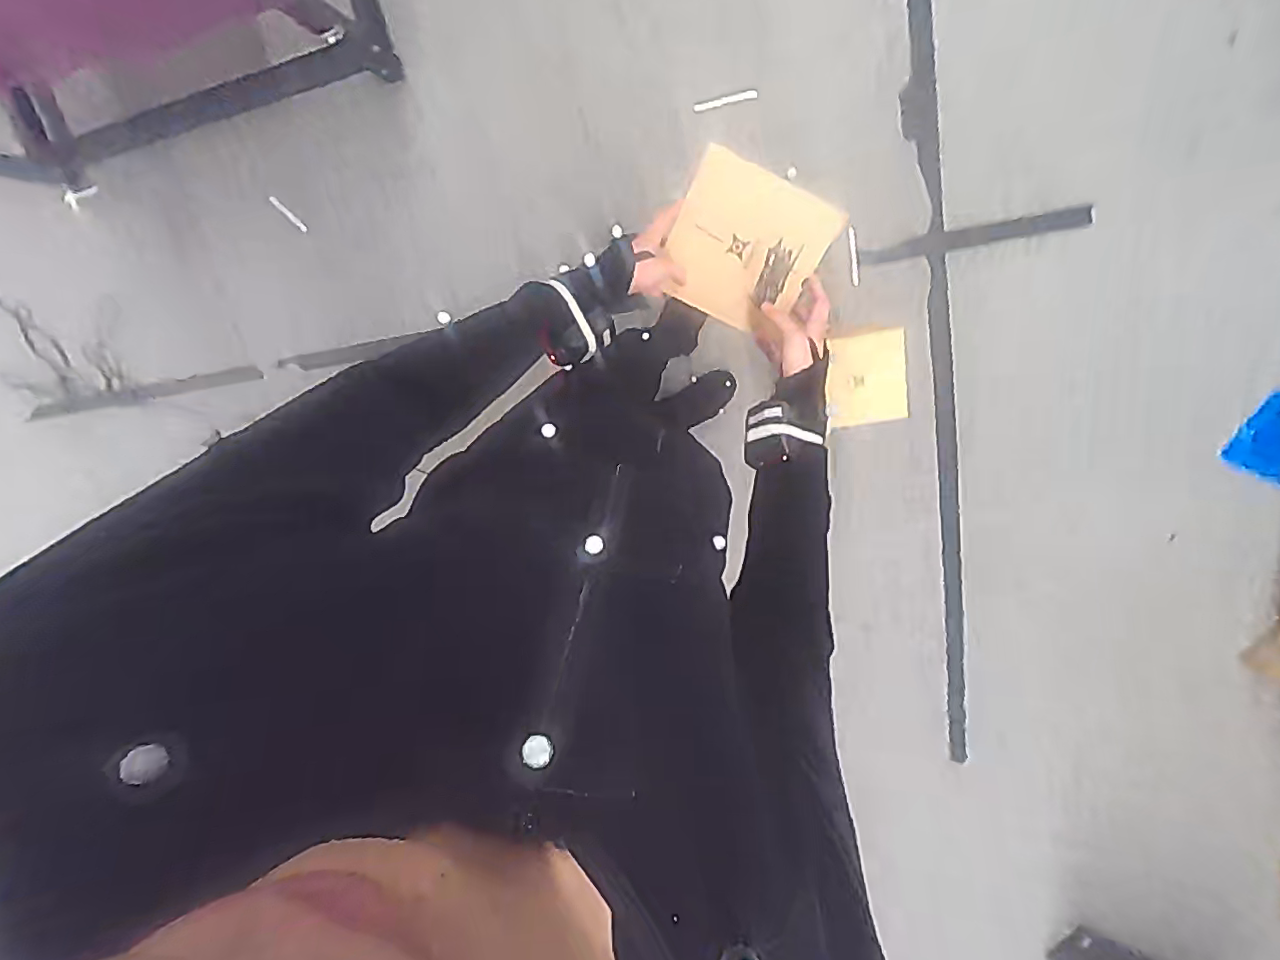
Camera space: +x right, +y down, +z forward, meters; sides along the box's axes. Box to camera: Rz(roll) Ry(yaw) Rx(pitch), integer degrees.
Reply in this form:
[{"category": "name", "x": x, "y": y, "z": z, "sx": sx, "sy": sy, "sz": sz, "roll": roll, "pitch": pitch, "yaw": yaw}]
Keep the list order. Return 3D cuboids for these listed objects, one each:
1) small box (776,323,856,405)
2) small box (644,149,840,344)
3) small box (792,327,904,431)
[{"category": "small box", "x": 0.455, "y": -0.302, "z": 1.390, "sx": 0.179, "sy": 0.176, "sz": 0.168, "roll": -10, "pitch": 106, "yaw": 13}, {"category": "small box", "x": 0.125, "y": -0.308, "z": 0.700, "sx": 0.179, "sy": 0.176, "sz": 0.168, "roll": 24, "pitch": 123, "yaw": -6}, {"category": "small box", "x": 0.409, "y": -0.207, "z": 1.080, "sx": 0.179, "sy": 0.176, "sz": 0.168, "roll": -7, "pitch": 107, "yaw": 12}]
